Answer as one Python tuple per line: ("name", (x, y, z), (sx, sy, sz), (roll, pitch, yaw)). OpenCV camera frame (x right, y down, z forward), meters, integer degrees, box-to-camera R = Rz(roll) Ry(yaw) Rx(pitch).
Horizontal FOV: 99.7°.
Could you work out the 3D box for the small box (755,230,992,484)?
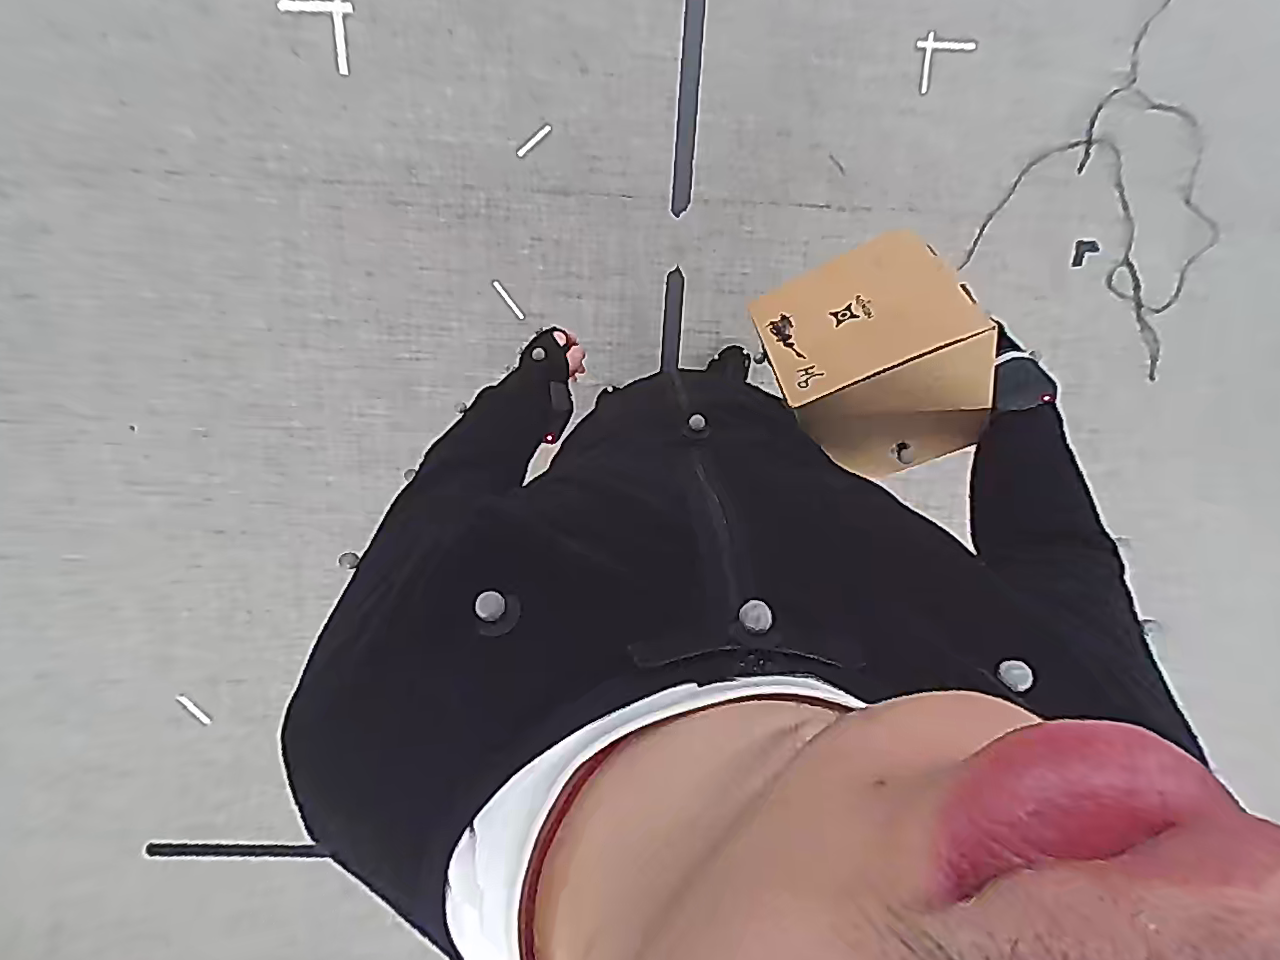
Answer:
("small box", (0.247, -0.124, 0.589), (0.179, 0.168, 0.176), (-22, 140, 16))
